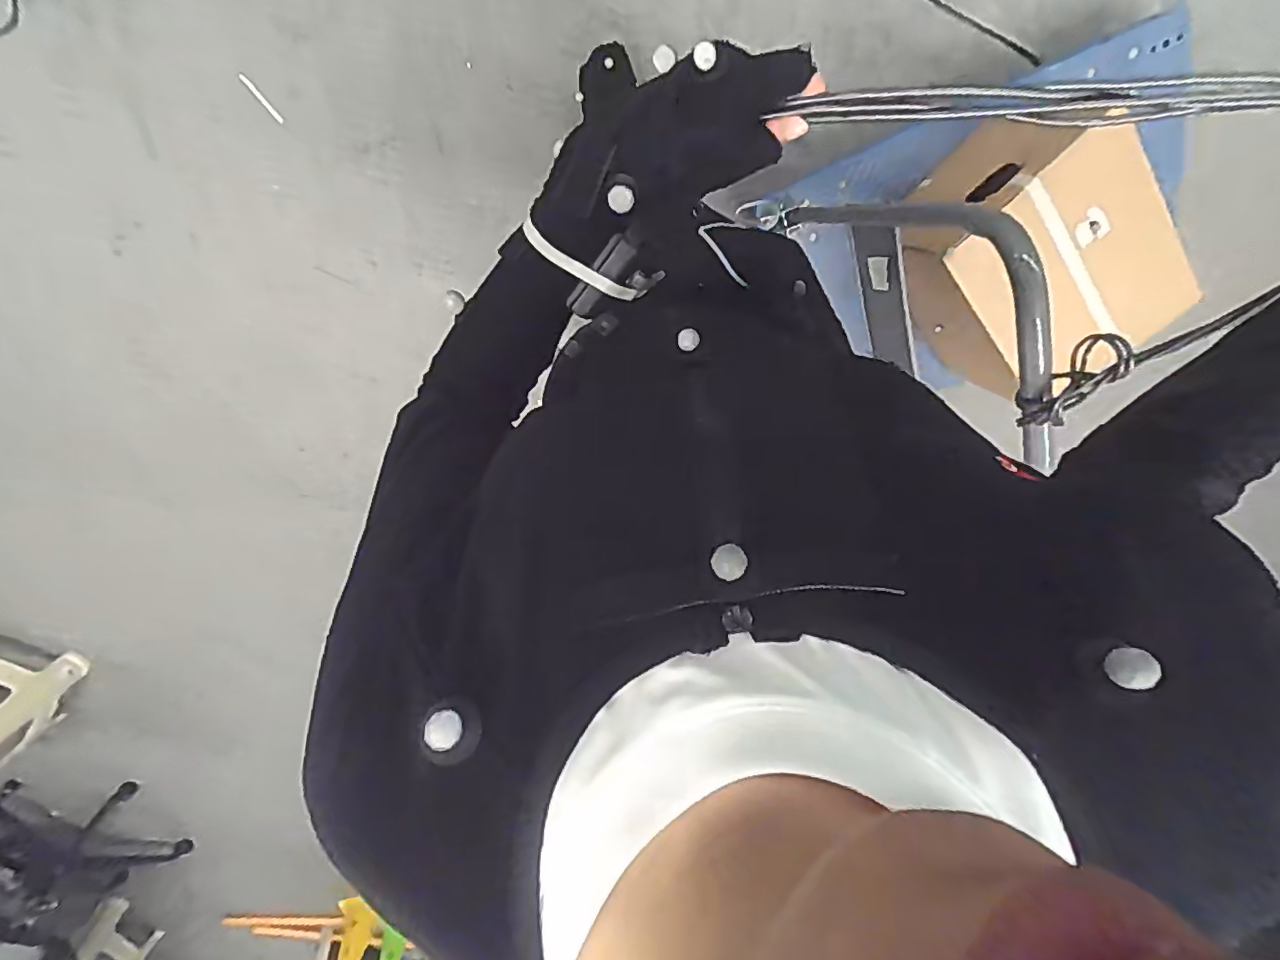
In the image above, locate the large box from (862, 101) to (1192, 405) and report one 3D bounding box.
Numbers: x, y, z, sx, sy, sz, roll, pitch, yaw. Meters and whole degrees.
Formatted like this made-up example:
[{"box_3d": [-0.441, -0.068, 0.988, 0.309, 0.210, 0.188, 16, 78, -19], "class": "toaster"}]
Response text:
[{"box_3d": [0.724, -0.426, 1.057, 0.320, 0.320, 0.408, -42, 113, 16], "class": "large box"}]
